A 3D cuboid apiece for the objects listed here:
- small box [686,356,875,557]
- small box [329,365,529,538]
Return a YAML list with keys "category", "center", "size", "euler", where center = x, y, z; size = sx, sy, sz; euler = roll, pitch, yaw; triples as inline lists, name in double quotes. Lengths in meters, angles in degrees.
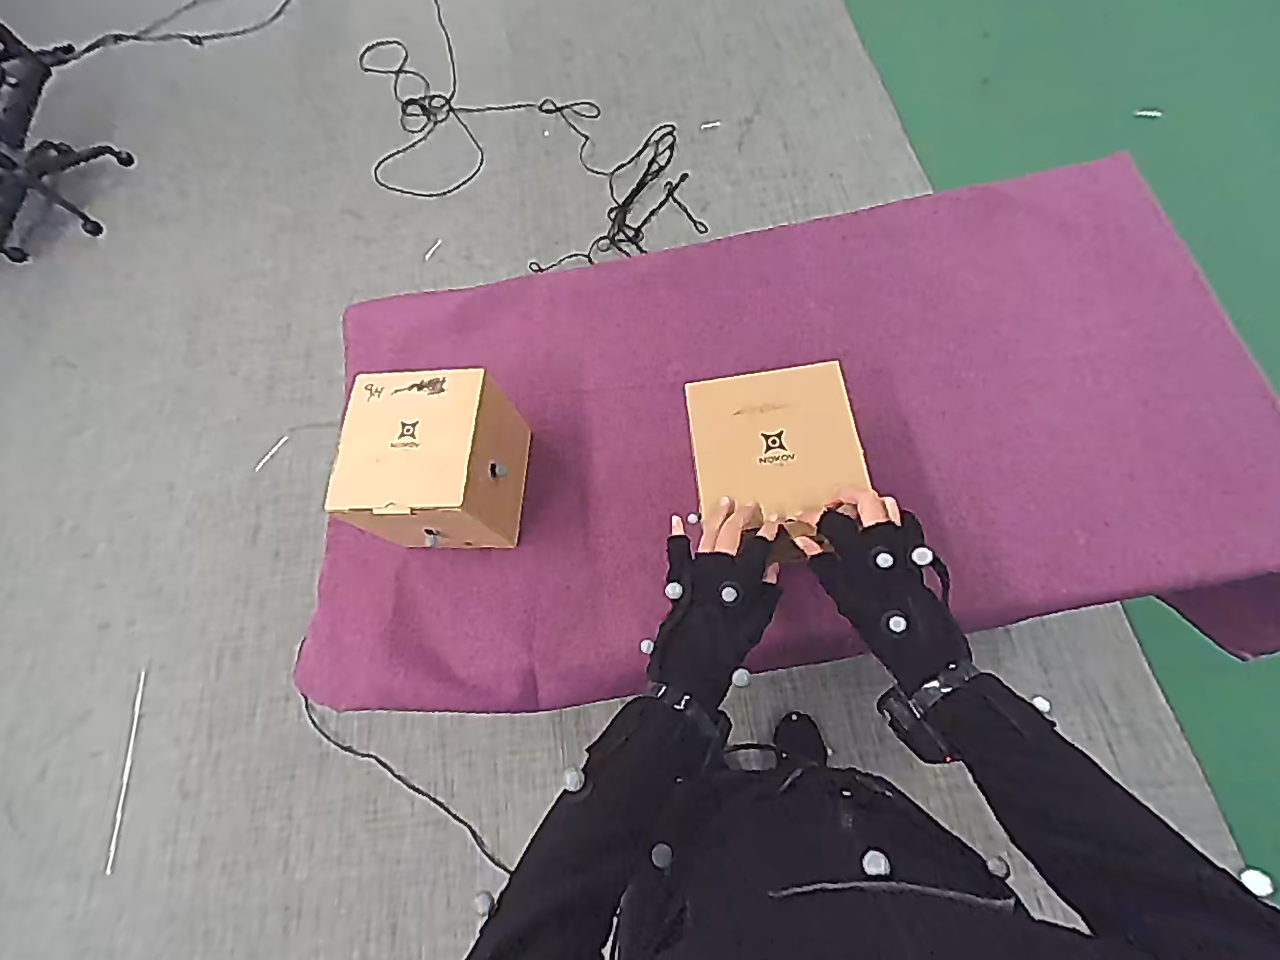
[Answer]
- category: "small box"
  center: [0.148, -0.014, 0.620]
  size: [0.168, 0.176, 0.179]
  euler: [-8, 68, 6]
- category: "small box"
  center: [-0.250, -0.026, 0.687]
  size: [0.168, 0.176, 0.179]
  euler: [-1, 70, 8]
